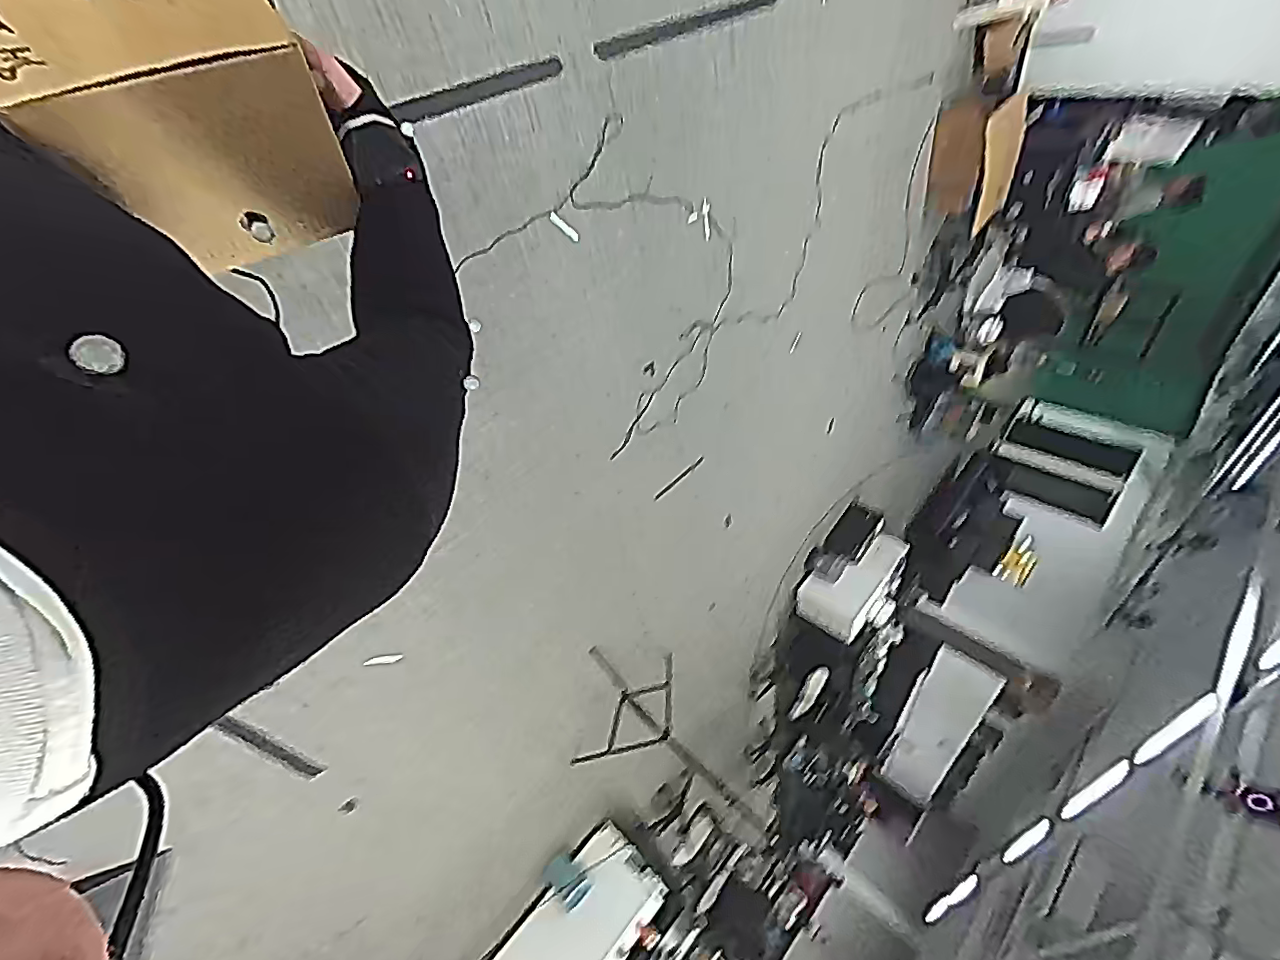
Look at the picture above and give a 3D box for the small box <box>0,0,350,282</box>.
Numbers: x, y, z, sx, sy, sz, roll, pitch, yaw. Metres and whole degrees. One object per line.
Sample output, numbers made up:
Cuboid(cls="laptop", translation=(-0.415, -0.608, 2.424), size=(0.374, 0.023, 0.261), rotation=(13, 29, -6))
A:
Cuboid(cls="small box", translation=(-0.364, -0.297, 0.439), size=(0.179, 0.168, 0.176), rotation=(-28, 170, -19))
